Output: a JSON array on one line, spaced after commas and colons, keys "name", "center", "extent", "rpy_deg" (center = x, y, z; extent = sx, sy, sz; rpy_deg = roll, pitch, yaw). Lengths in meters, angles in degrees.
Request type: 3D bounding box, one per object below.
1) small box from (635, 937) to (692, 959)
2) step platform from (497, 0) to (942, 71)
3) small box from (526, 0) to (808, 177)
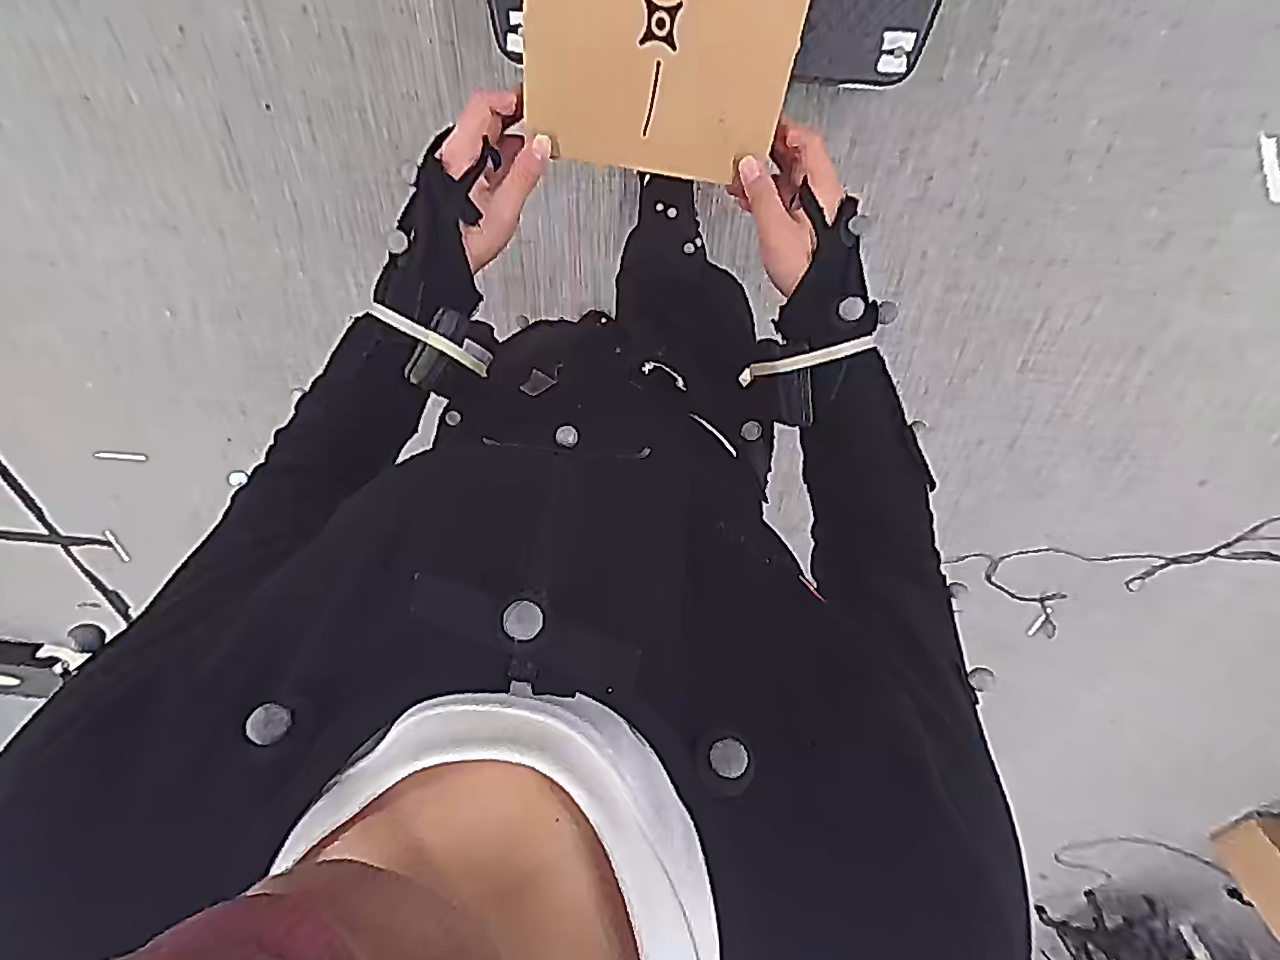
[{"name": "small box", "center": [0.074, 1.586, 1.722], "extent": [0.179, 0.176, 0.168], "rpy_deg": [5, 127, 1]}, {"name": "step platform", "center": [0.119, -0.811, 0.812], "extent": [0.684, 0.204, 0.286], "rpy_deg": [4, 127, 1]}, {"name": "small box", "center": [0.018, -0.339, 0.375], "extent": [0.168, 0.176, 0.179], "rpy_deg": [8, 131, -4]}]
